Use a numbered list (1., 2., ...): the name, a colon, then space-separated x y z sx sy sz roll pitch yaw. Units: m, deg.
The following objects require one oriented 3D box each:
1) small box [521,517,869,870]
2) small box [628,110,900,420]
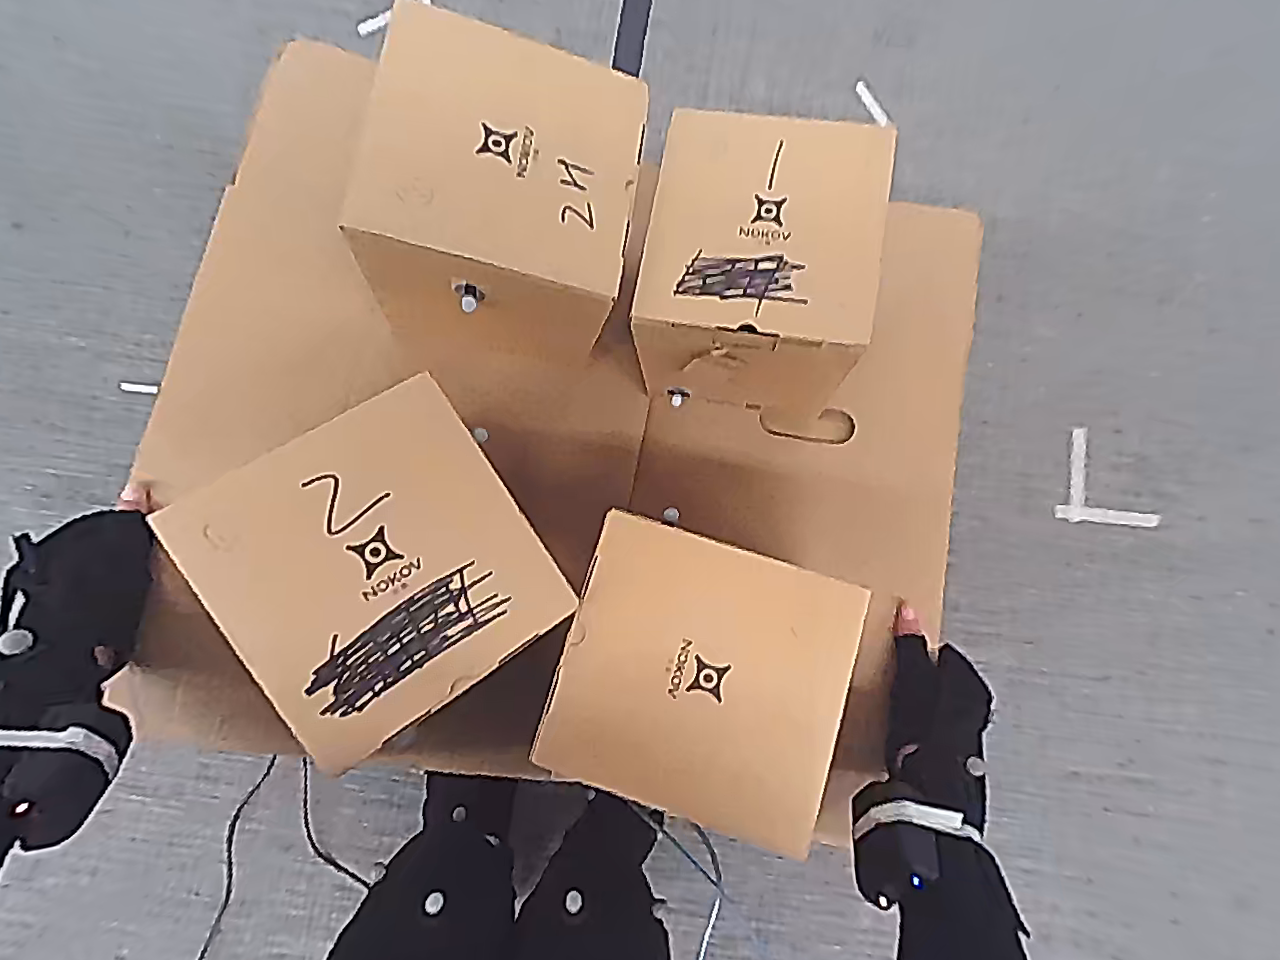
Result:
1. small box: 0.040 0.135 0.406 0.179 0.176 0.168 17 82 8
2. small box: 0.095 -0.163 0.456 0.168 0.176 0.179 11 80 7
